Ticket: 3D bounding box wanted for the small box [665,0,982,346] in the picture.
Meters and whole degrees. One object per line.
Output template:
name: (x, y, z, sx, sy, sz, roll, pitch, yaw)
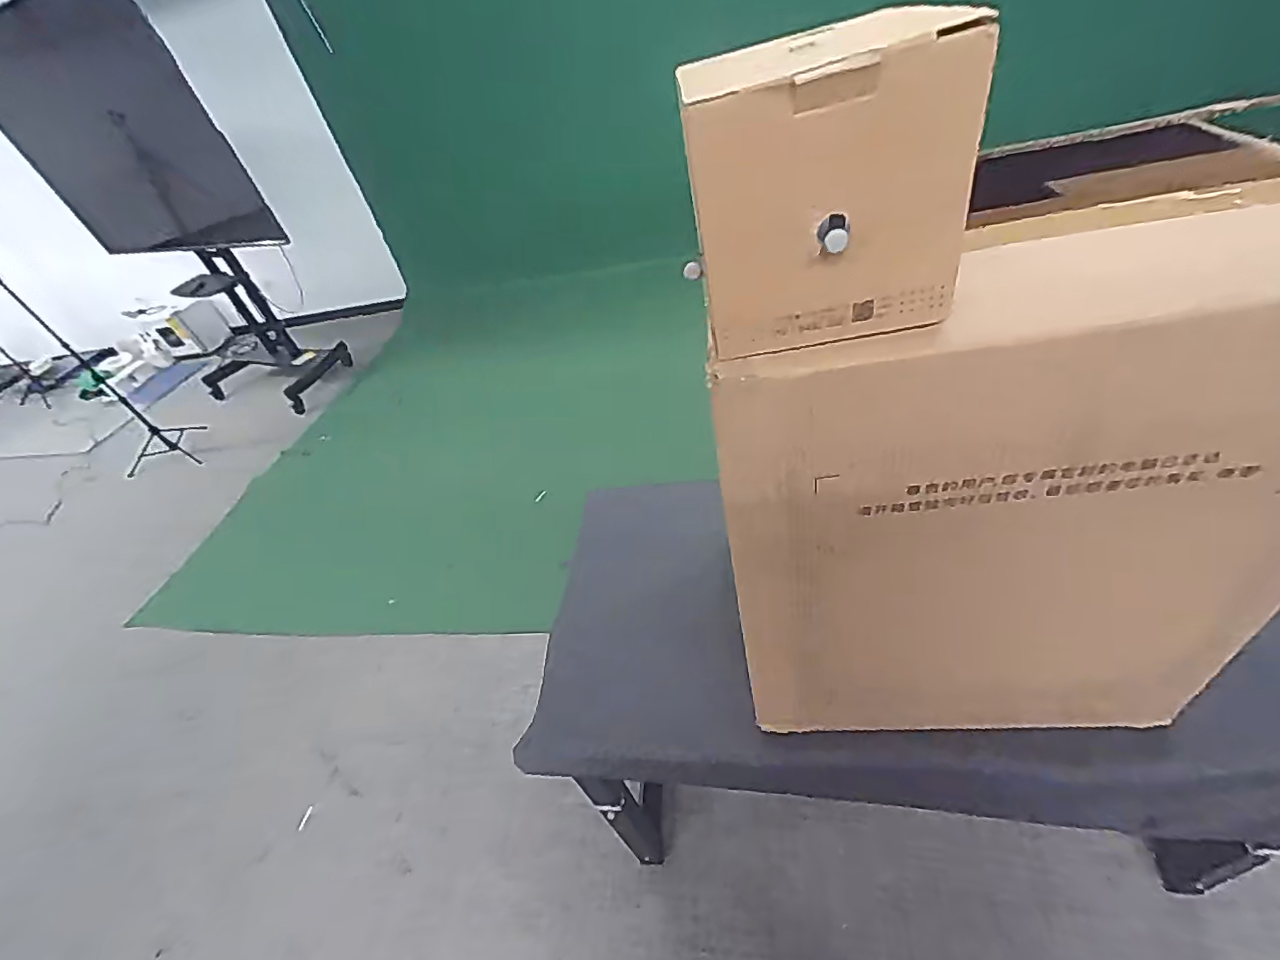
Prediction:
small box: (0.115, -0.212, 0.394, 0.168, 0.176, 0.179, -8, 43, 10)
